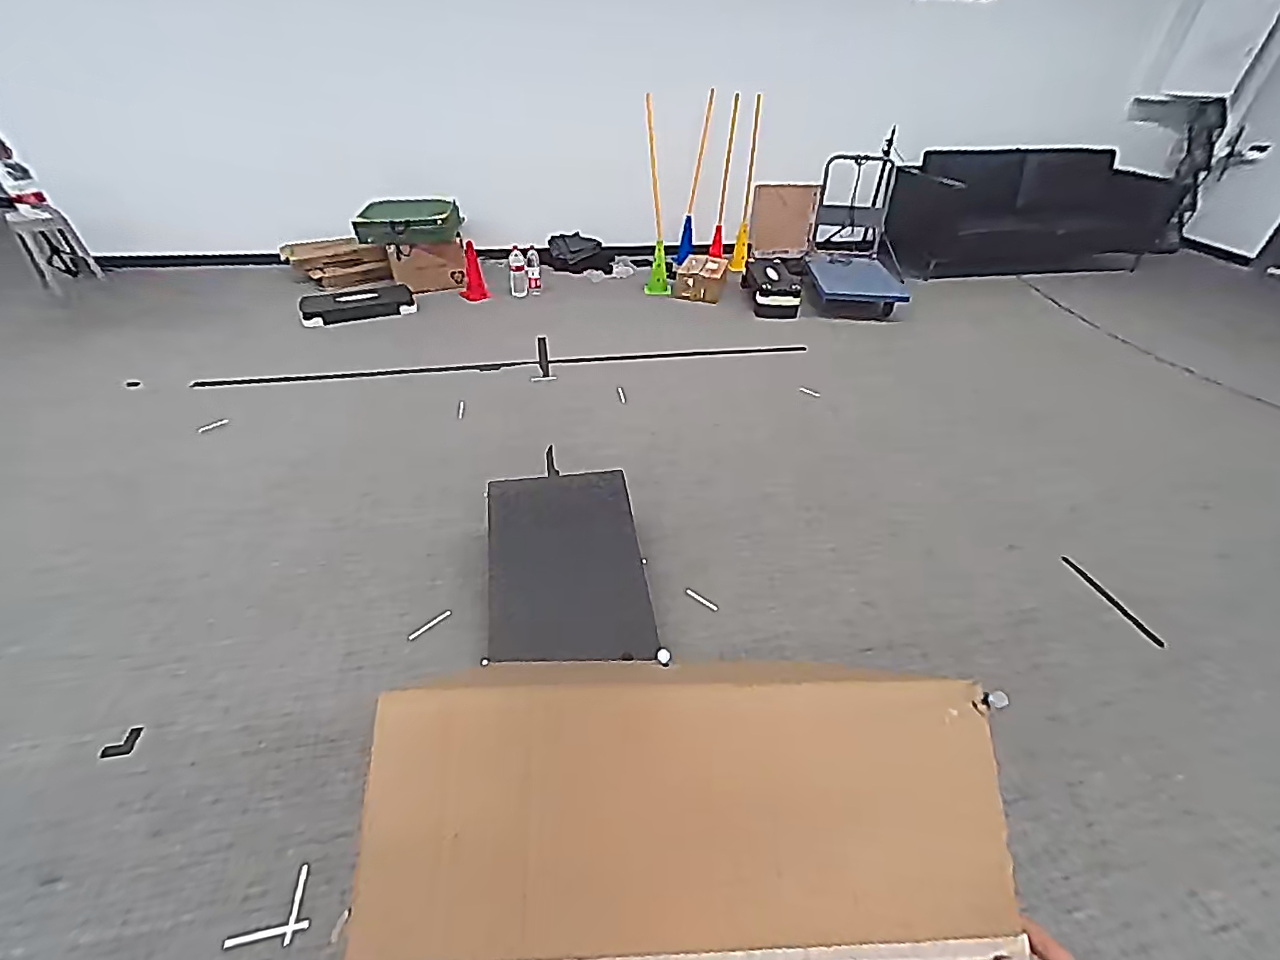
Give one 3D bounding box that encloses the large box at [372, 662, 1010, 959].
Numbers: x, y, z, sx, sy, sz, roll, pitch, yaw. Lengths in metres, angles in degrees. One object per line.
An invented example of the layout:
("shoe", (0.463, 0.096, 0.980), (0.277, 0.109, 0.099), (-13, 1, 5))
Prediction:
("large box", (0.025, 0.334, 0.474), (0.408, 0.320, 0.320), (0, 76, -5))
